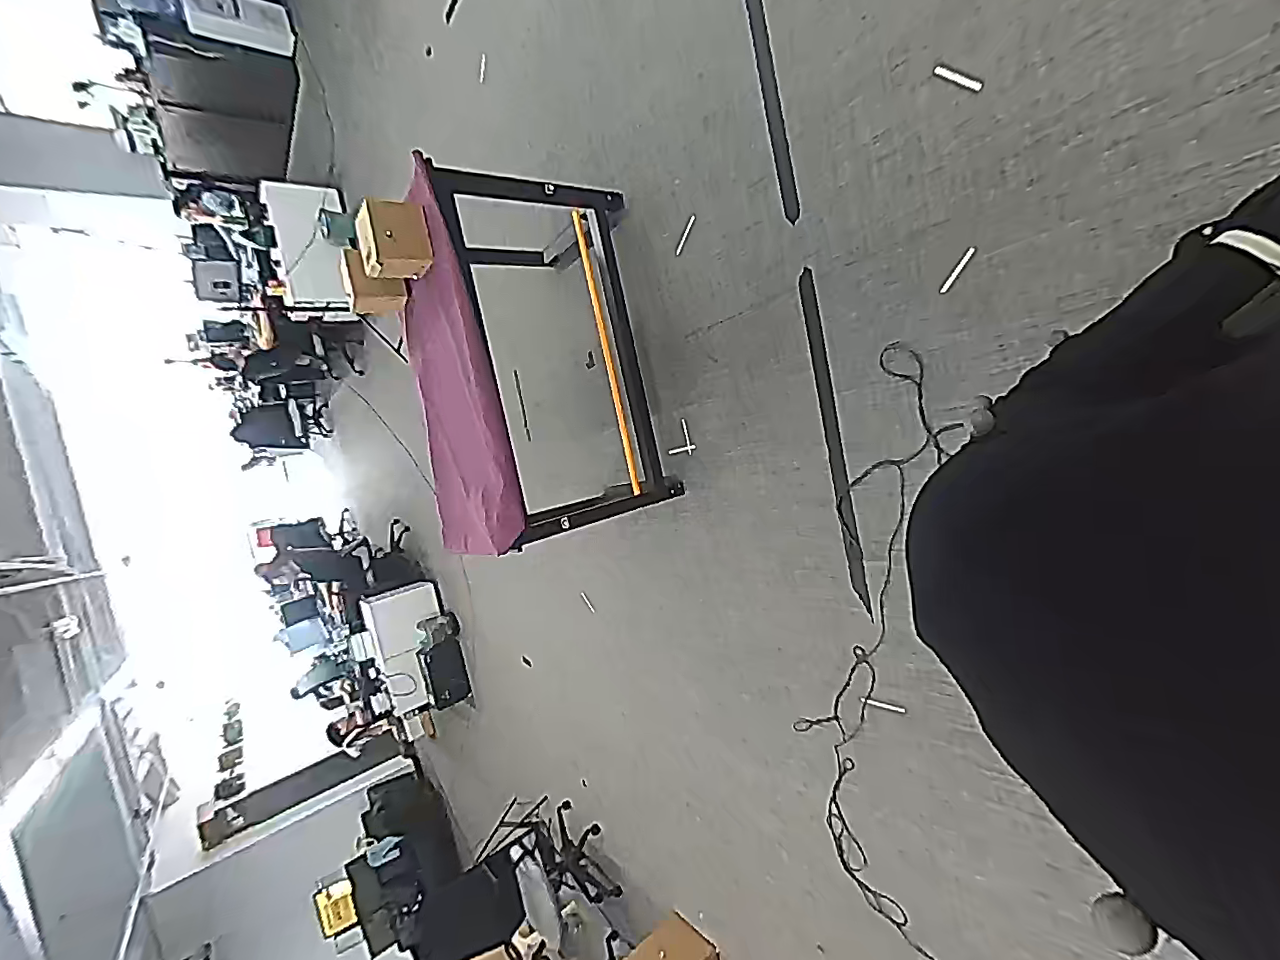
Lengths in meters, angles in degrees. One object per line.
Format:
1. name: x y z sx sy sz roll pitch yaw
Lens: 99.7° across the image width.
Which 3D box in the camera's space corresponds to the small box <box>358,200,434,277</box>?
1. small box: -0.761 -0.751 1.694 0.168 0.176 0.179 -4 99 54
